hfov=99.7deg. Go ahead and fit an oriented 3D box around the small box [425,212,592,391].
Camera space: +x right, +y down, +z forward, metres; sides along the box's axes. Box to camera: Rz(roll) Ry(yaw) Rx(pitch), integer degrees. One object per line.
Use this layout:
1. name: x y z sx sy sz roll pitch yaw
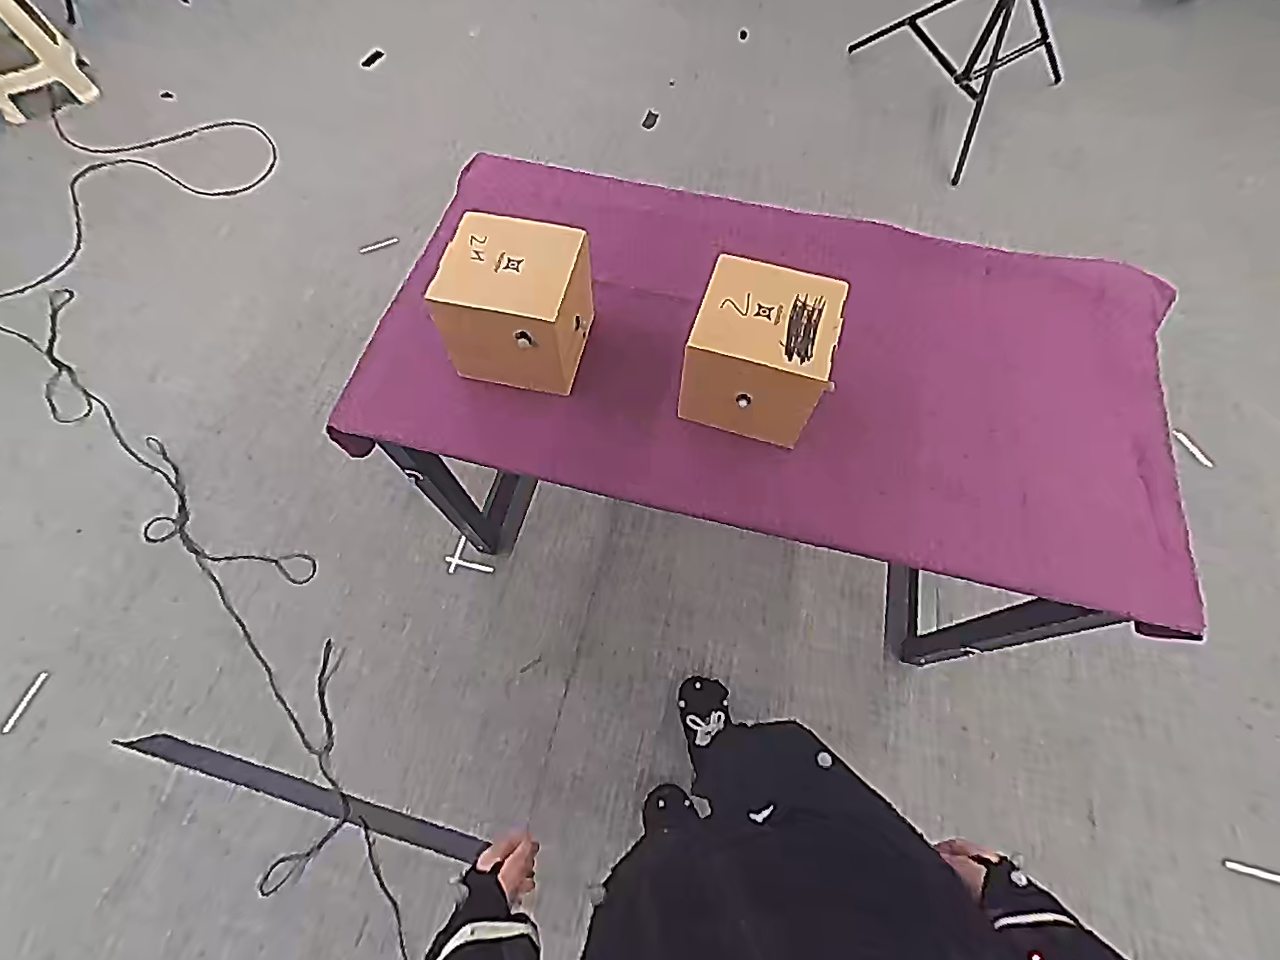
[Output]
1. small box: -0.173 -0.248 0.781 0.179 0.176 0.168 11 65 5
